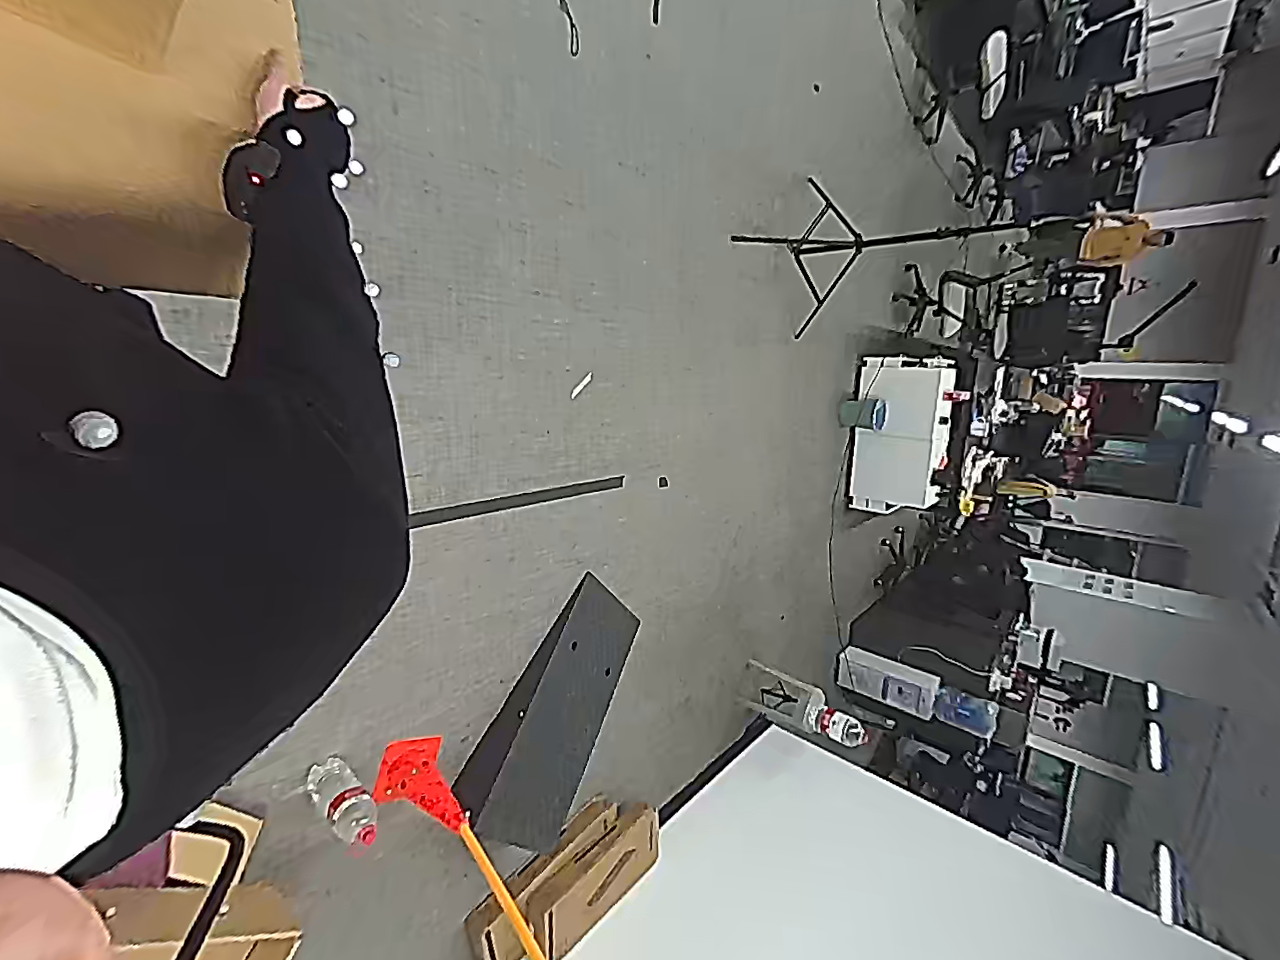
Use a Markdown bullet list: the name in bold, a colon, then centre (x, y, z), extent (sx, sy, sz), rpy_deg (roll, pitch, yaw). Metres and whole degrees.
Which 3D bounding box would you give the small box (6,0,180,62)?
- **small box**: centre (-0.439, -0.456, 0.387), extent (0.179, 0.176, 0.168), rpy_deg (3, 90, -48)
